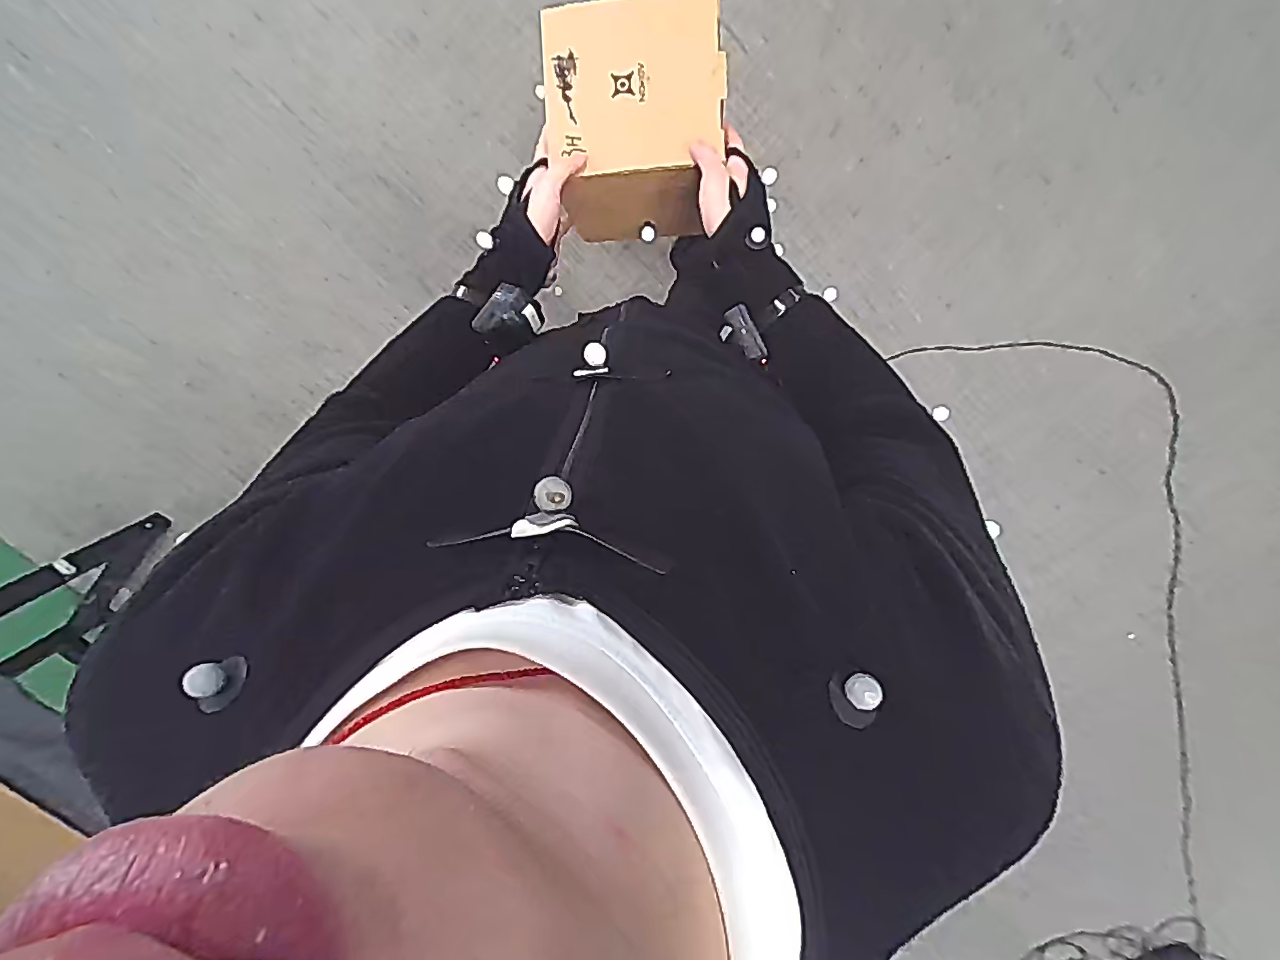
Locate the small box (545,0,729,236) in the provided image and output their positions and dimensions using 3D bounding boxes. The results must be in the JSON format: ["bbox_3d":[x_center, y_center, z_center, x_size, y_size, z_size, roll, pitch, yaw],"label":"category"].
[{"bbox_3d":[0.002,-0.391,0.603,0.179,0.176,0.168,-2,92,5],"label":"small box"}]
